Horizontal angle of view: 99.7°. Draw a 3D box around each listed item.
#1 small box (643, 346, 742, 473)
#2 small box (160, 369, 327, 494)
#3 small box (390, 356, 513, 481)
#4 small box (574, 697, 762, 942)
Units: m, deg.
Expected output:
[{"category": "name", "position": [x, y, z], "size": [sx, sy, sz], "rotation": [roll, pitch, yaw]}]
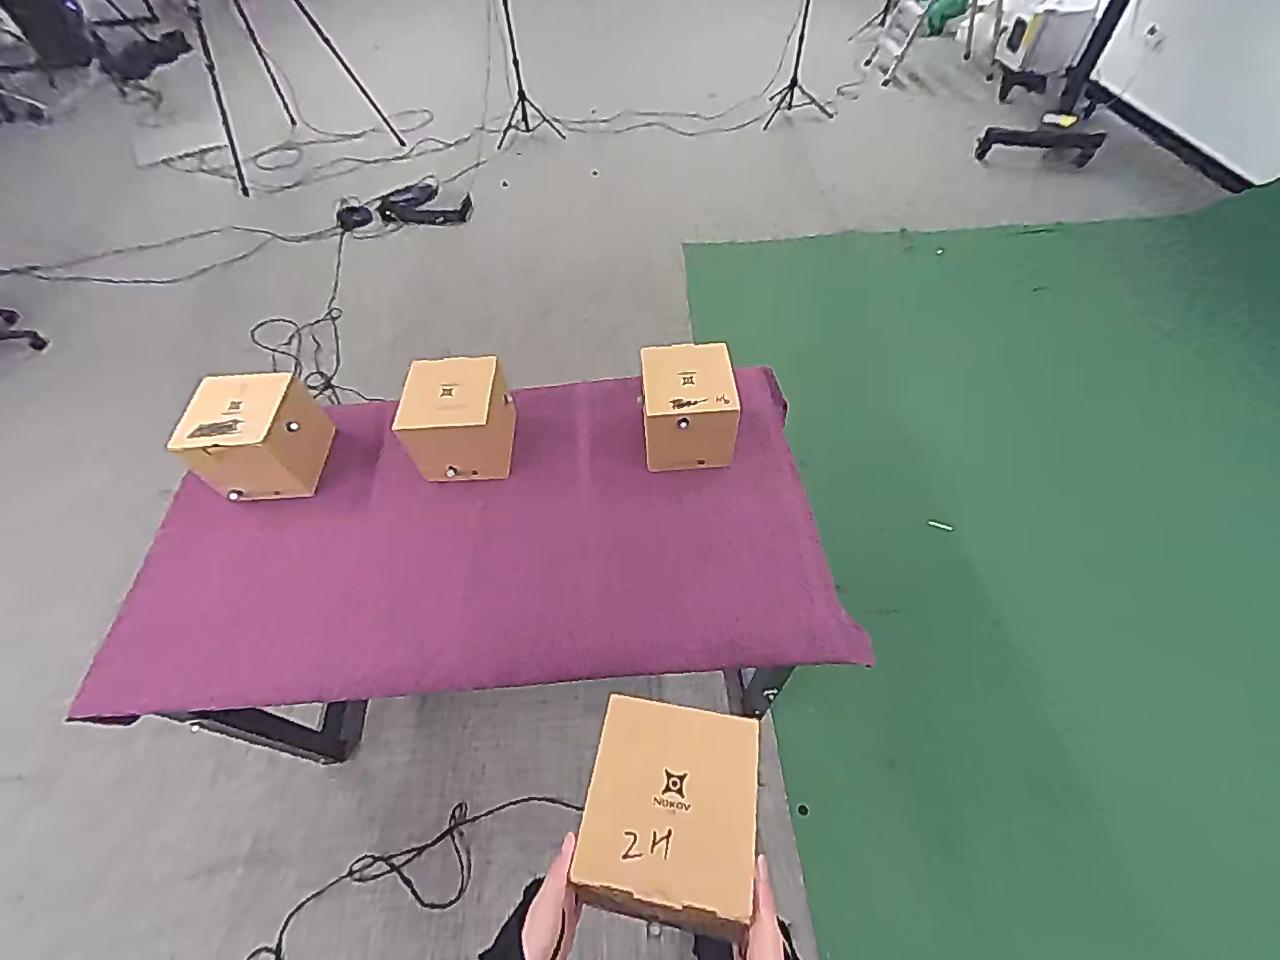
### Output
[{"category": "small box", "position": [0.091, -0.133, 1.034], "size": [0.168, 0.176, 0.179], "rotation": [-4, 55, 0]}, {"category": "small box", "position": [-0.721, -0.084, 1.011], "size": [0.168, 0.176, 0.179], "rotation": [-3, 56, -2]}, {"category": "small box", "position": [-0.345, -0.115, 1.031], "size": [0.168, 0.176, 0.179], "rotation": [-2, 56, 0]}, {"category": "small box", "position": [0.035, 0.370, 0.592], "size": [0.168, 0.176, 0.179], "rotation": [8, 46, 8]}]
